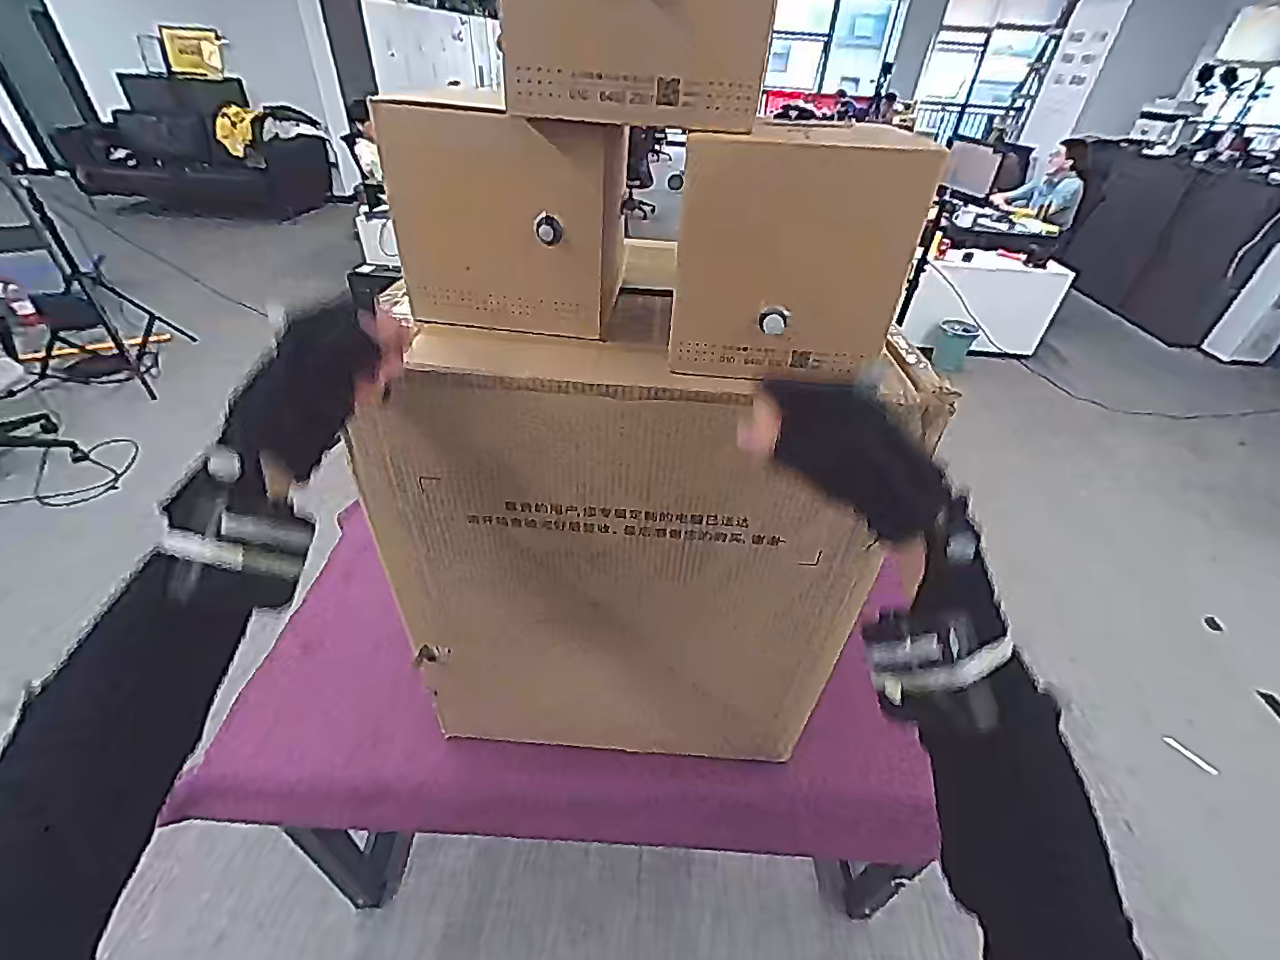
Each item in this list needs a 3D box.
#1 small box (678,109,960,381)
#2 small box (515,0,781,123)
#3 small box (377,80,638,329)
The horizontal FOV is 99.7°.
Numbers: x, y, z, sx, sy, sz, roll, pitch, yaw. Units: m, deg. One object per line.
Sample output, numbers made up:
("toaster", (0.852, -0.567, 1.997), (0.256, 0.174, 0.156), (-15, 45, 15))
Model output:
("small box", (0.121, -0.201, 0.451), (0.168, 0.176, 0.179), (4, 38, 2))
("small box", (0.005, -0.354, 0.371), (0.168, 0.176, 0.179), (2, 38, -4))
("small box", (-0.100, -0.250, 0.493), (0.179, 0.176, 0.168), (6, 37, 2))
